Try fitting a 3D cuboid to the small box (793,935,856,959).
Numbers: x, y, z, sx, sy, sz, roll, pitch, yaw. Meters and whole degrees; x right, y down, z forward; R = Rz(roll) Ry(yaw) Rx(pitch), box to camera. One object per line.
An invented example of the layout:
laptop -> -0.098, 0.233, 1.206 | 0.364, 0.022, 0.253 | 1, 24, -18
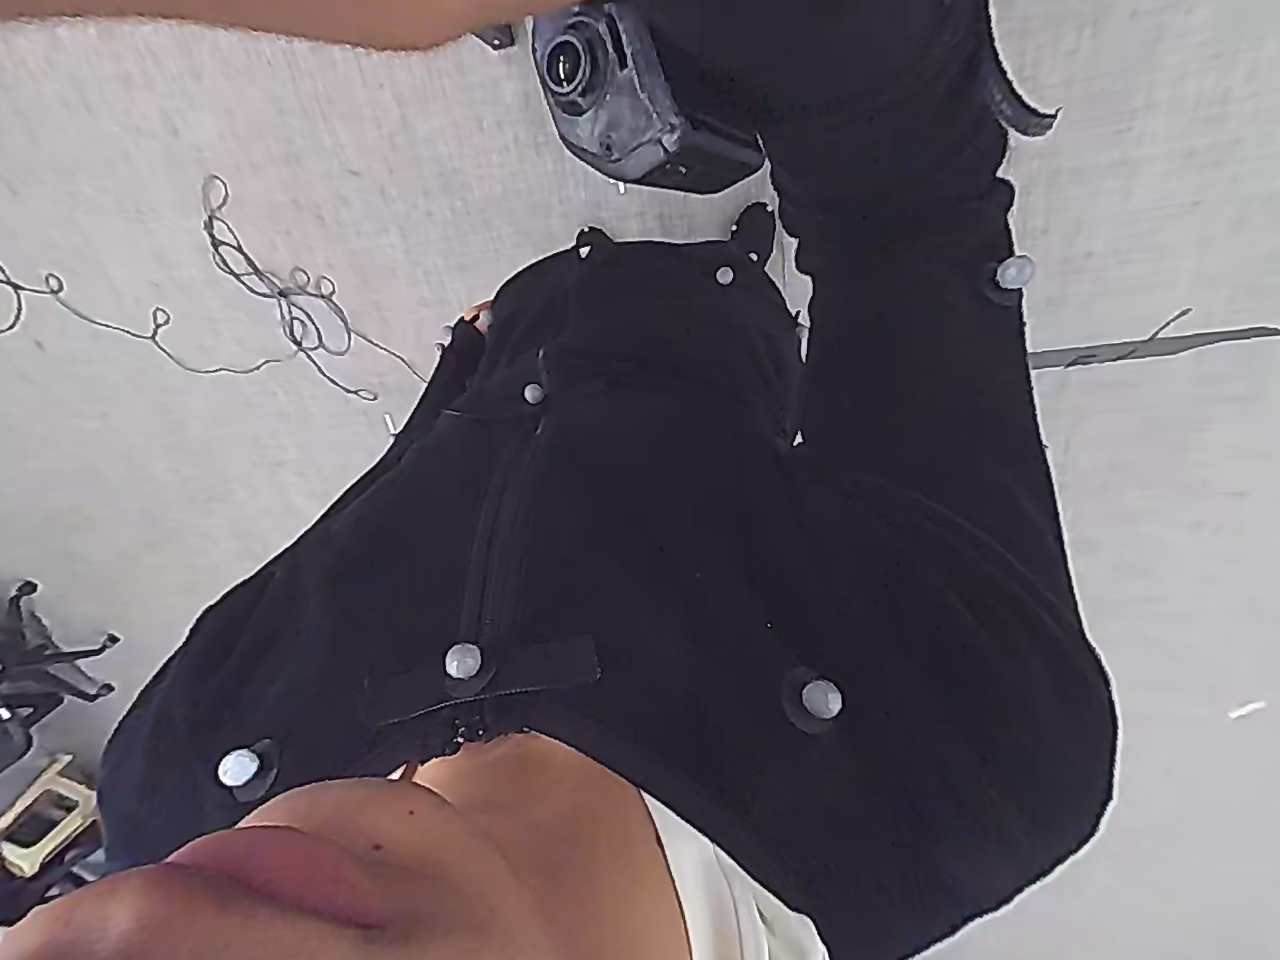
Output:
small box -> 0.530, 1.407, 1.507 | 0.168, 0.176, 0.179 | -11, 116, 12
